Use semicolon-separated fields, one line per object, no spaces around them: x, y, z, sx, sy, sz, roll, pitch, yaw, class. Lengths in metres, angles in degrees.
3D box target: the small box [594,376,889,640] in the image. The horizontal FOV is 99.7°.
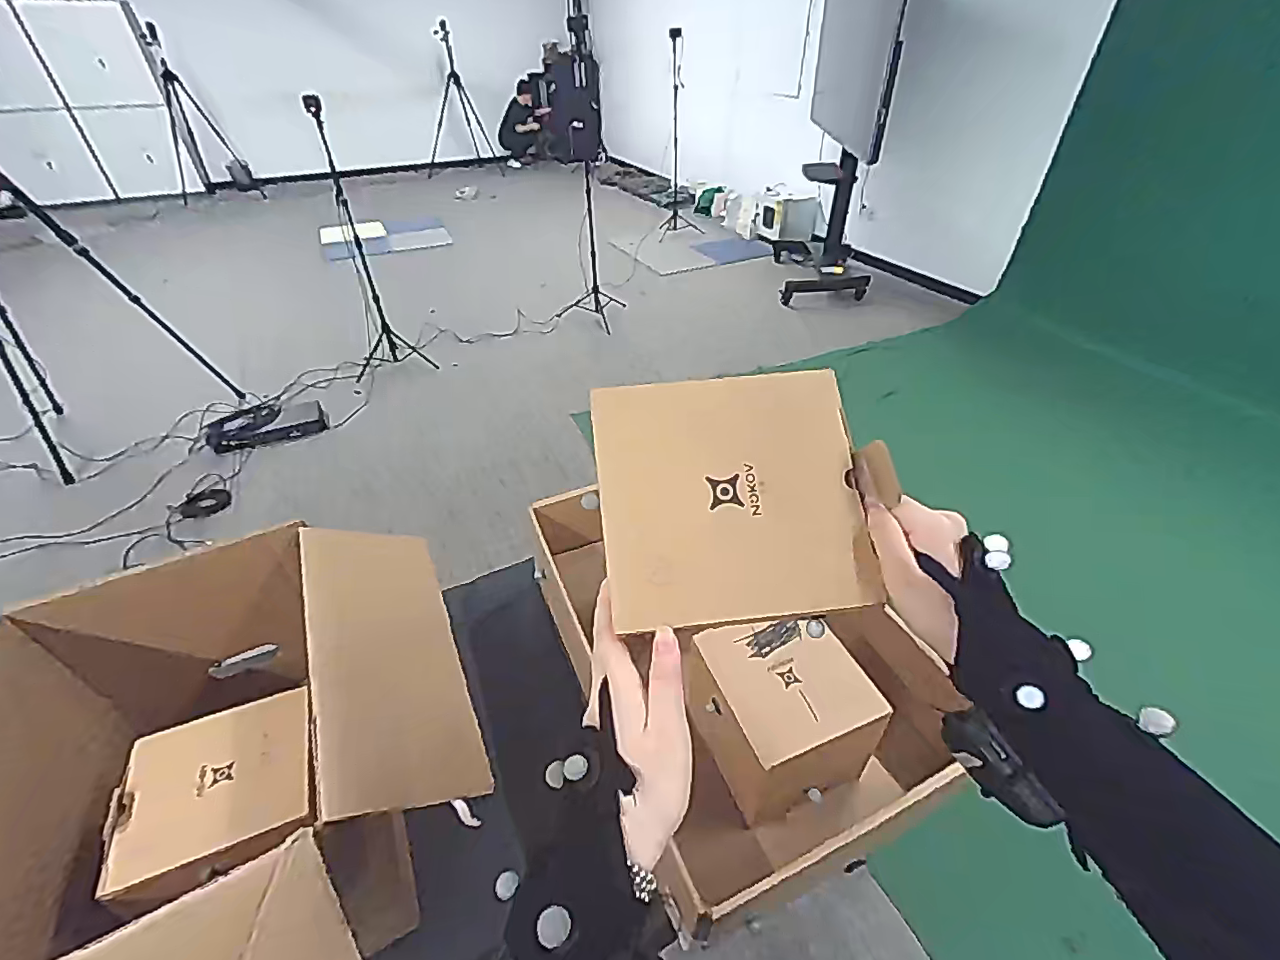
0.061;0.035;0.434;0.179;0.176;0.168;-6;73;-4;small box
